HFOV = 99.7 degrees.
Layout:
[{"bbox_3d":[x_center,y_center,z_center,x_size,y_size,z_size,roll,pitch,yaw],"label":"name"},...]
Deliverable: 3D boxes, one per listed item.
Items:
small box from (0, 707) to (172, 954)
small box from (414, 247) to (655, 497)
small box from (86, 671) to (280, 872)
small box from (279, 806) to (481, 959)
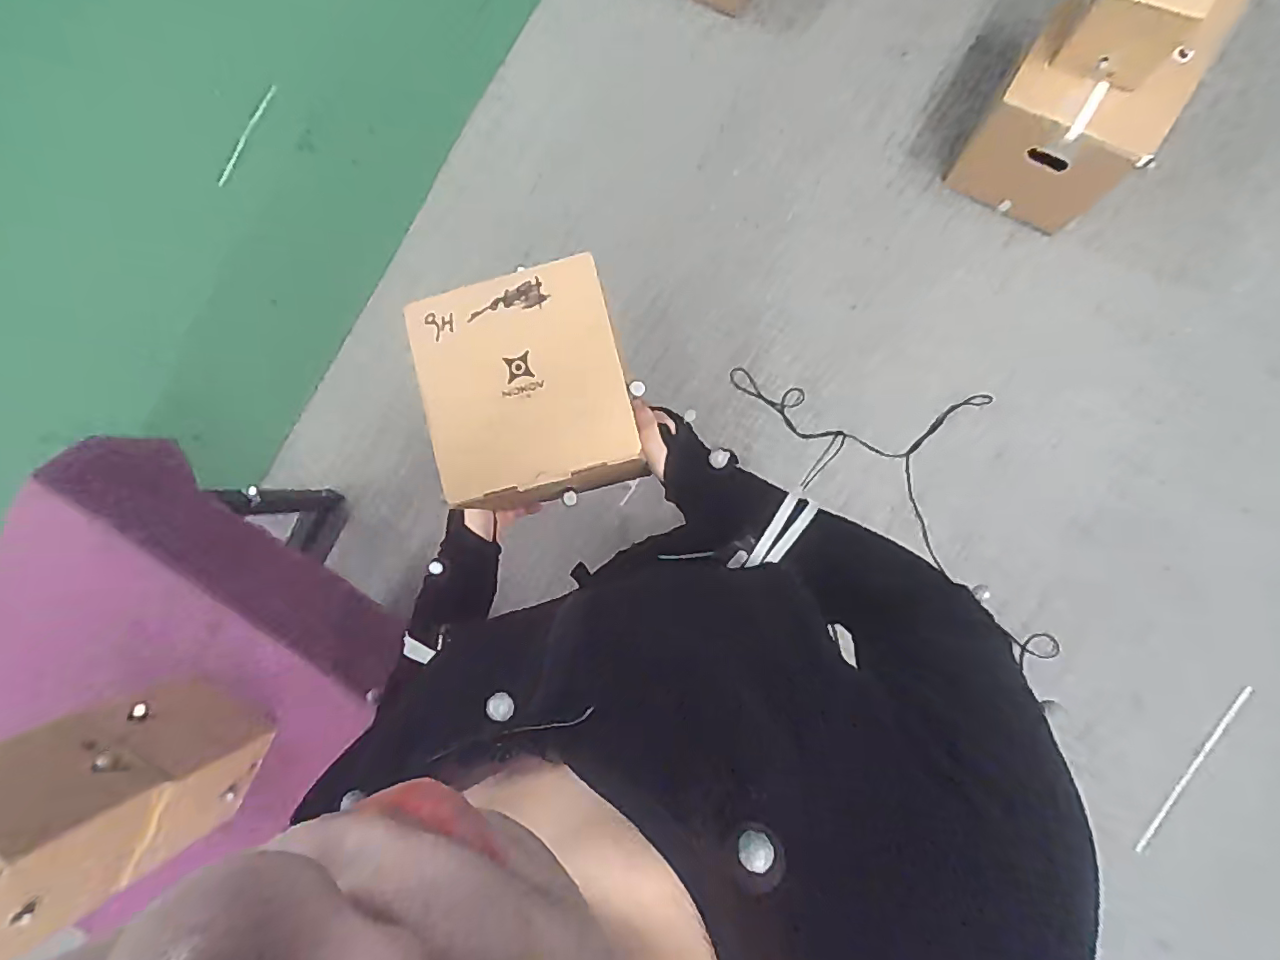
[{"bbox_3d":[-0.717,0.410,0.637,0.168,0.176,0.179,28,93,7],"label":"small box"},{"bbox_3d":[-0.085,-0.086,0.520,0.168,0.176,0.179,-14,87,3],"label":"small box"},{"bbox_3d":[-0.692,0.408,0.798,0.179,0.176,0.168,29,94,7],"label":"small box"},{"bbox_3d":[-0.350,0.608,0.746,0.168,0.176,0.179,31,93,7],"label":"small box"}]
